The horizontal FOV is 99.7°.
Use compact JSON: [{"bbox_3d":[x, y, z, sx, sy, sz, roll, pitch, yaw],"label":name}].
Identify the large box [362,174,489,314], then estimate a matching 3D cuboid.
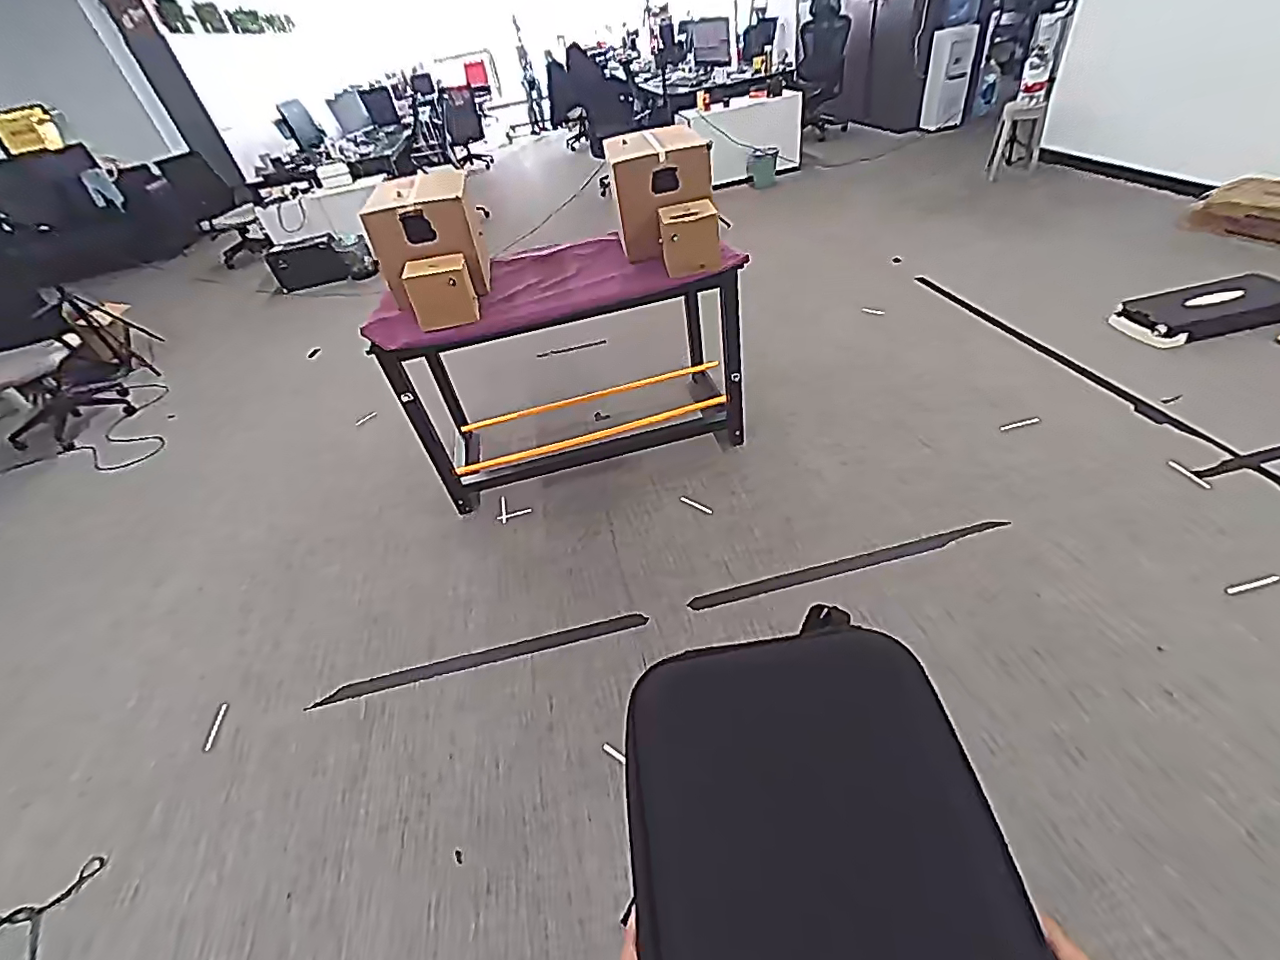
[{"bbox_3d":[-0.724,-0.830,1.885,0.320,0.320,0.408,-14,44,-5],"label":"large box"}]
